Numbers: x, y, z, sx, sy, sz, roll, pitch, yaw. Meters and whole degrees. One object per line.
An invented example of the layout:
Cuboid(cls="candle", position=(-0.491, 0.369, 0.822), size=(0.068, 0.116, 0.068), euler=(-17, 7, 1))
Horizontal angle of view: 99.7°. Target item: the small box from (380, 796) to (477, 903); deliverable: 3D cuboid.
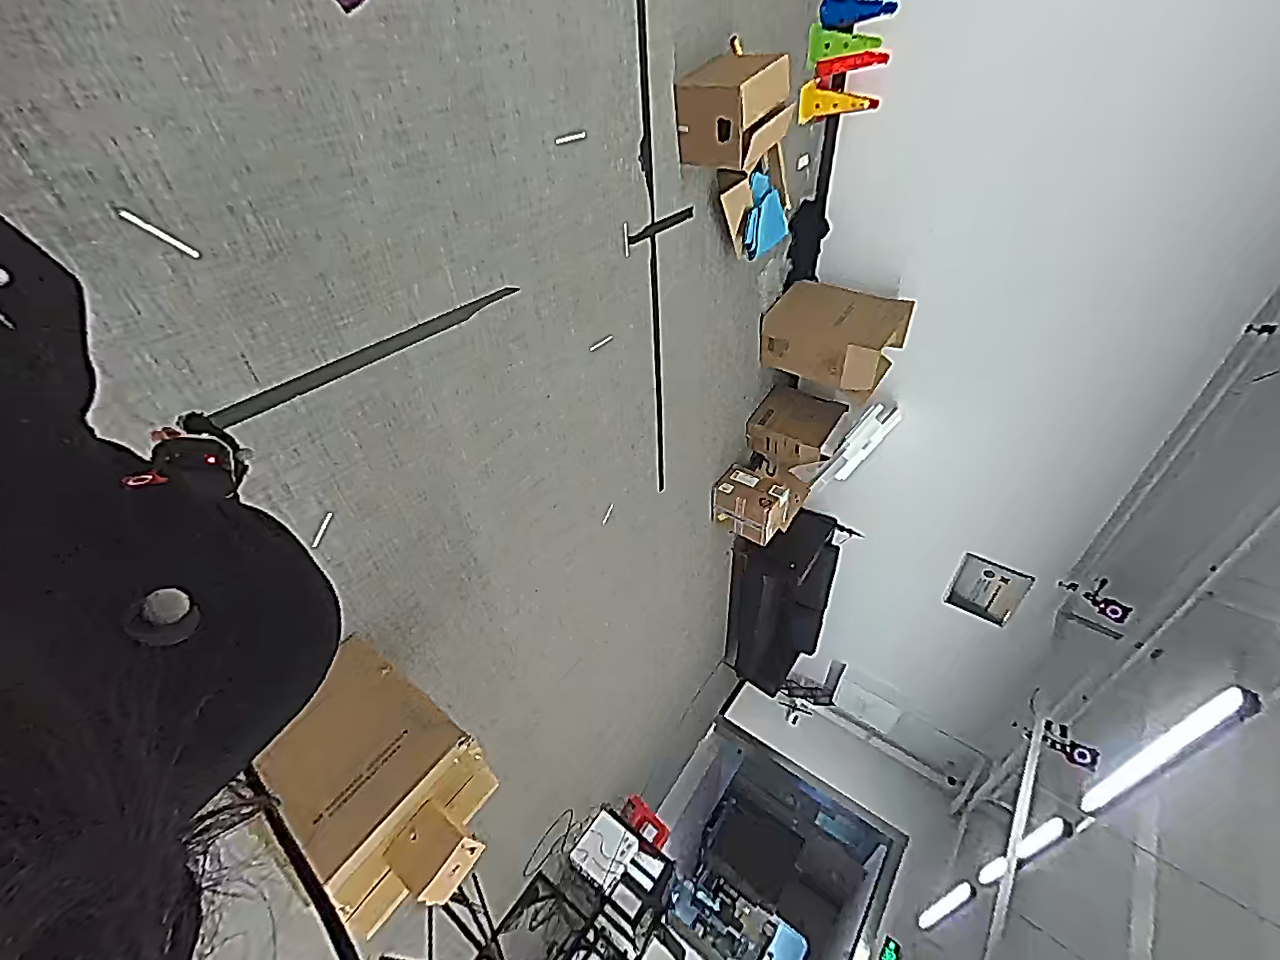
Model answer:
Cuboid(cls="small box", position=(-0.611, 1.054, 1.546), size=(0.179, 0.176, 0.168), euler=(-47, 146, -28))
